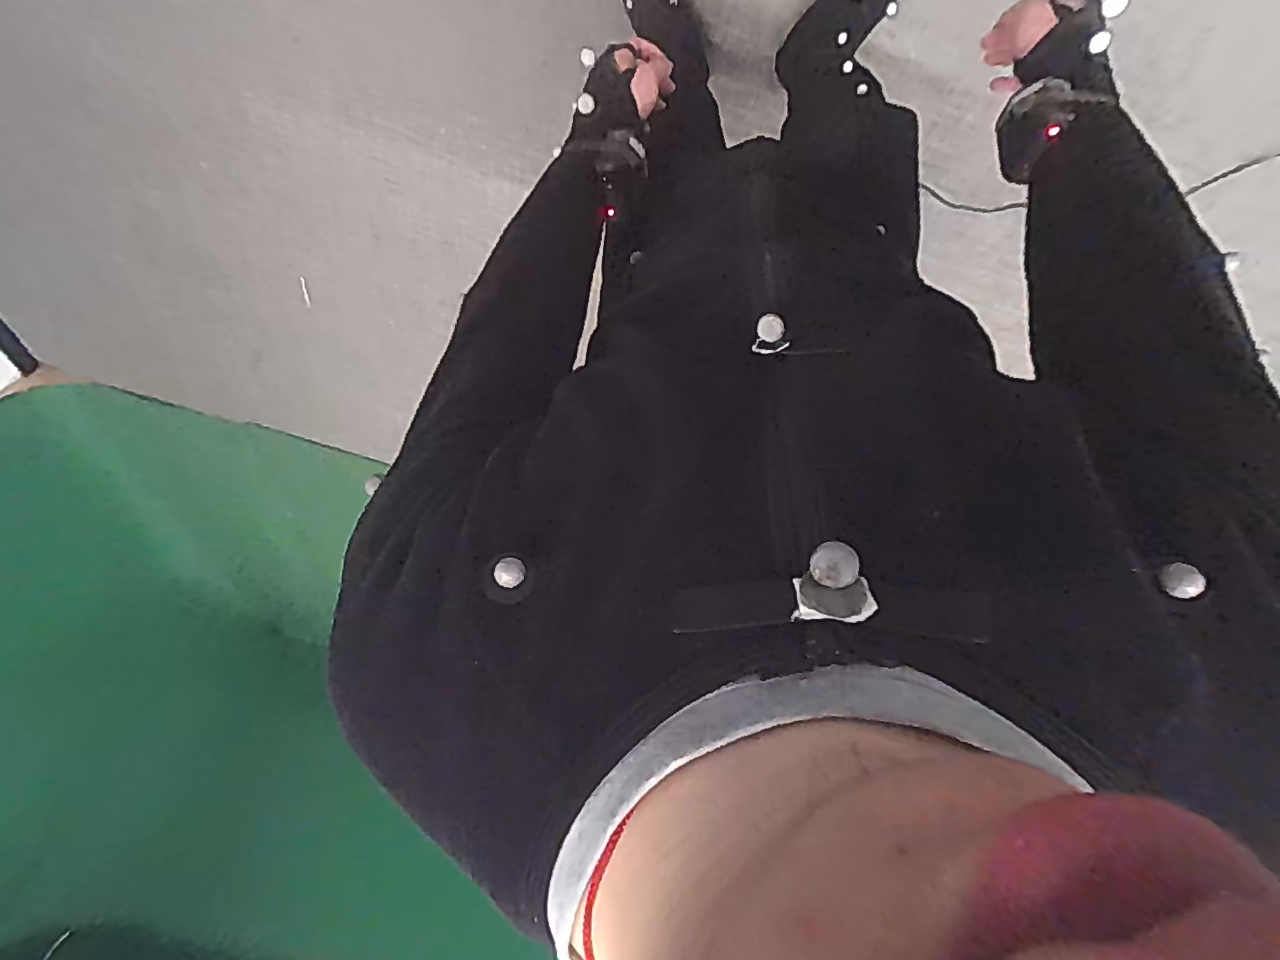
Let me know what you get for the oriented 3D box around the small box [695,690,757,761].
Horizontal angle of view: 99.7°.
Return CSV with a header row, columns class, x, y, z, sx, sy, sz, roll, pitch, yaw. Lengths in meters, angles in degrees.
class,x,y,z,sx,sy,sz,roll,pitch,yaw
small box,0.307,0.868,1.910,0.168,0.176,0.179,16,140,-4
